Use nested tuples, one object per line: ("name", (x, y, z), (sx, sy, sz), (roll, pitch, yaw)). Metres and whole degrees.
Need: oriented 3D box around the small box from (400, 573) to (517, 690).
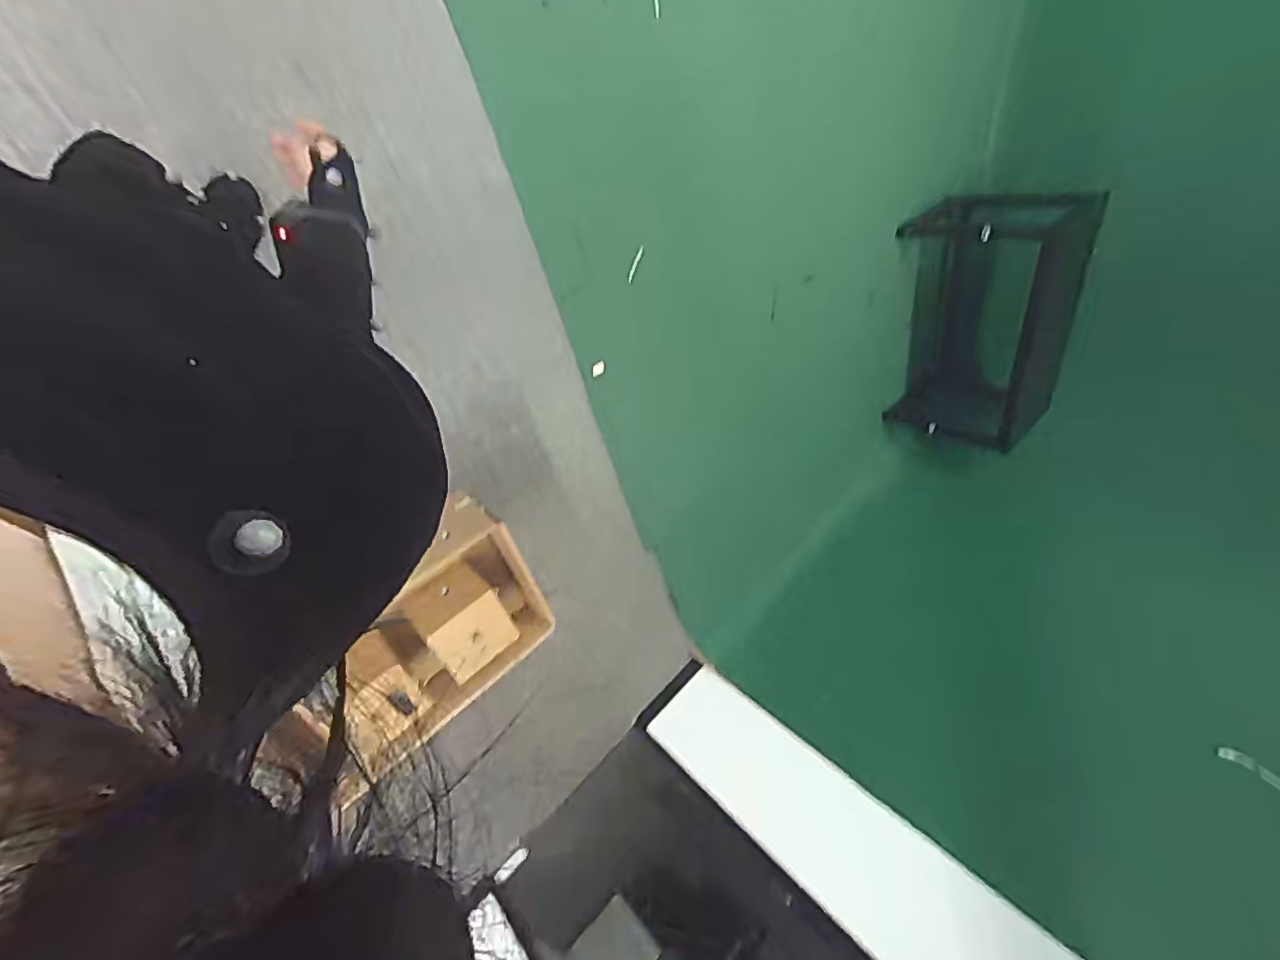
("small box", (-0.420, 0.337, 1.247), (0.168, 0.176, 0.179), (-36, 131, -25))
